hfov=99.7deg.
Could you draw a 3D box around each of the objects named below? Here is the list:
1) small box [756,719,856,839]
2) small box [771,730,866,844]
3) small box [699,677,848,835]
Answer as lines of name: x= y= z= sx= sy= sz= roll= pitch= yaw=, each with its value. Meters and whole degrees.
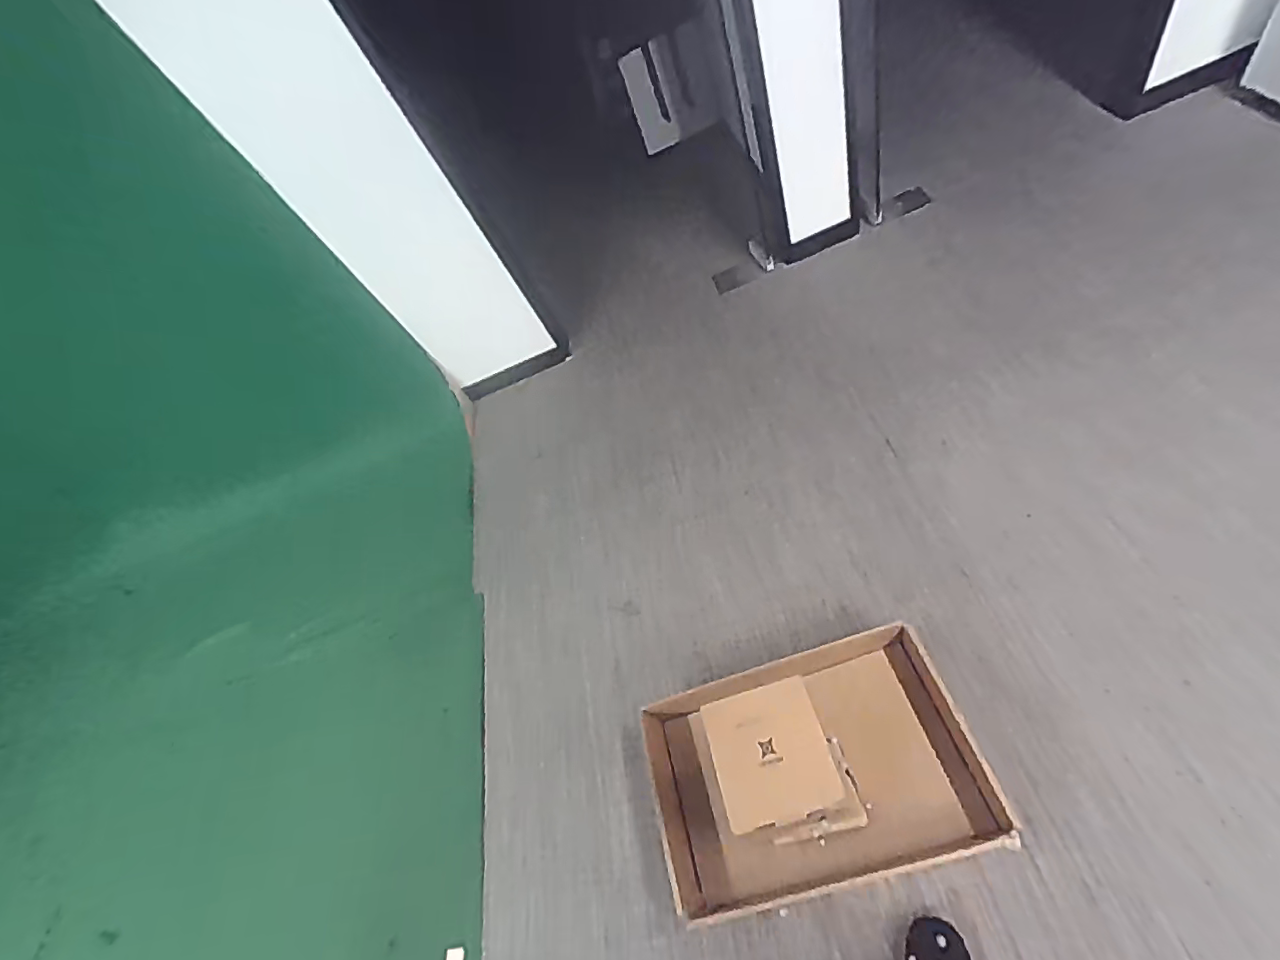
small box: x=0.276 y=0.530 z=0.983 sx=0.168 sy=0.176 sz=0.179 roll=-25 pitch=50 yaw=9
small box: x=0.343 y=0.624 z=1.095 sx=0.179 sy=0.176 sz=0.168 roll=-21 pitch=50 yaw=12
small box: x=0.210 y=0.435 z=0.843 sx=0.168 sy=0.176 sz=0.179 roll=-22 pitch=50 yaw=9
